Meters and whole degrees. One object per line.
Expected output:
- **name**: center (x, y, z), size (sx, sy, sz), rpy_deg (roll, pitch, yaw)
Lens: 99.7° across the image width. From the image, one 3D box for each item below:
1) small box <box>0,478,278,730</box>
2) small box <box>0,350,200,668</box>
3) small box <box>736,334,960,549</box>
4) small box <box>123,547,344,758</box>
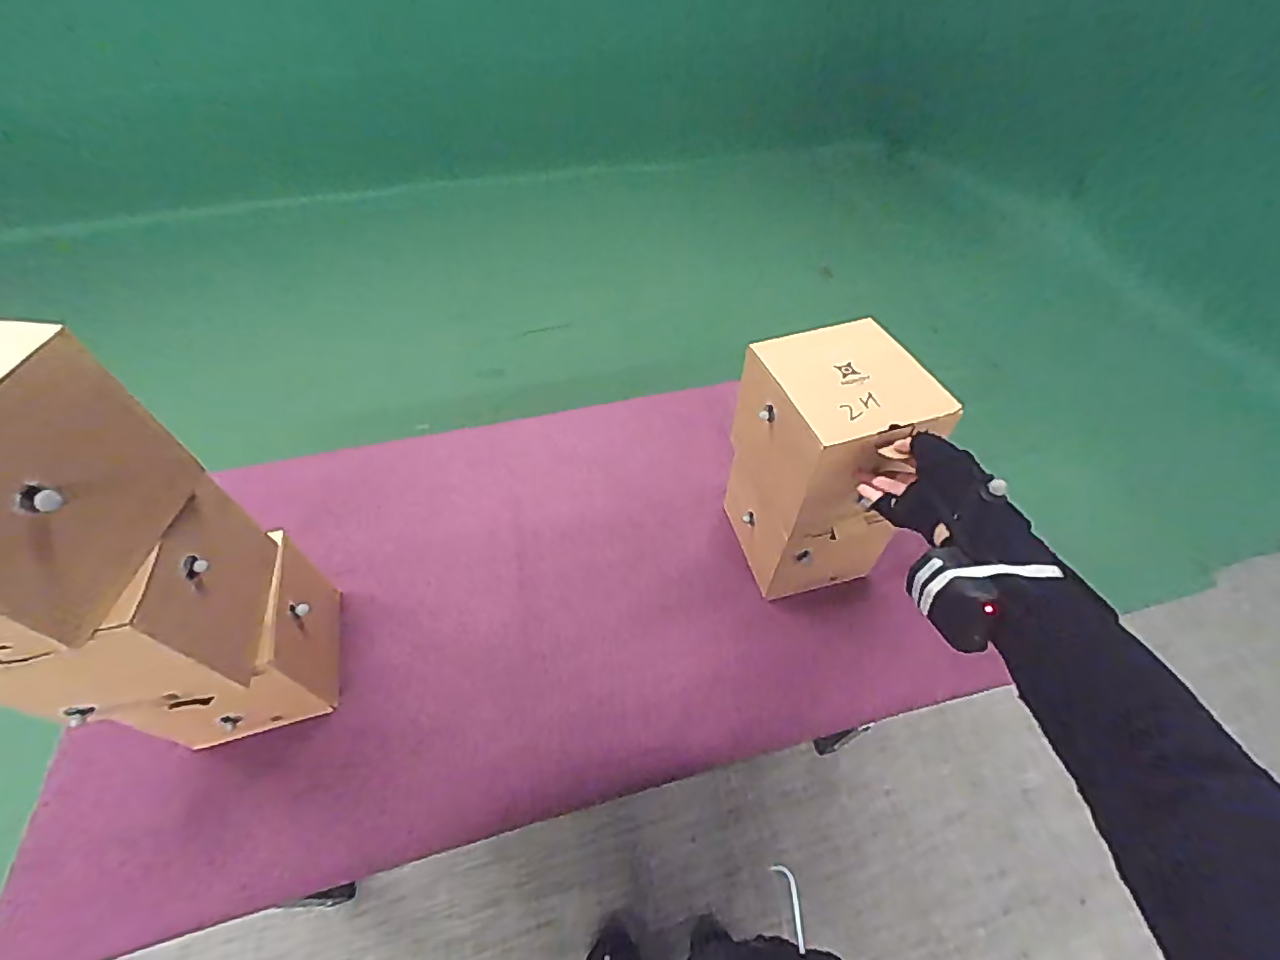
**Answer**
- **small box**: center (-0.487, 0.126, 0.523), size (0.168, 0.176, 0.179), rpy_deg (-9, 53, -8)
- **small box**: center (-0.485, 0.024, 0.395), size (0.168, 0.176, 0.179), rpy_deg (5, 54, 2)
- **small box**: center (0.230, -0.046, 0.655), size (0.168, 0.176, 0.179), rpy_deg (-15, 53, -10)
- **small box**: center (-0.485, 0.213, 0.664), size (0.168, 0.176, 0.179), rpy_deg (-13, 54, -11)
